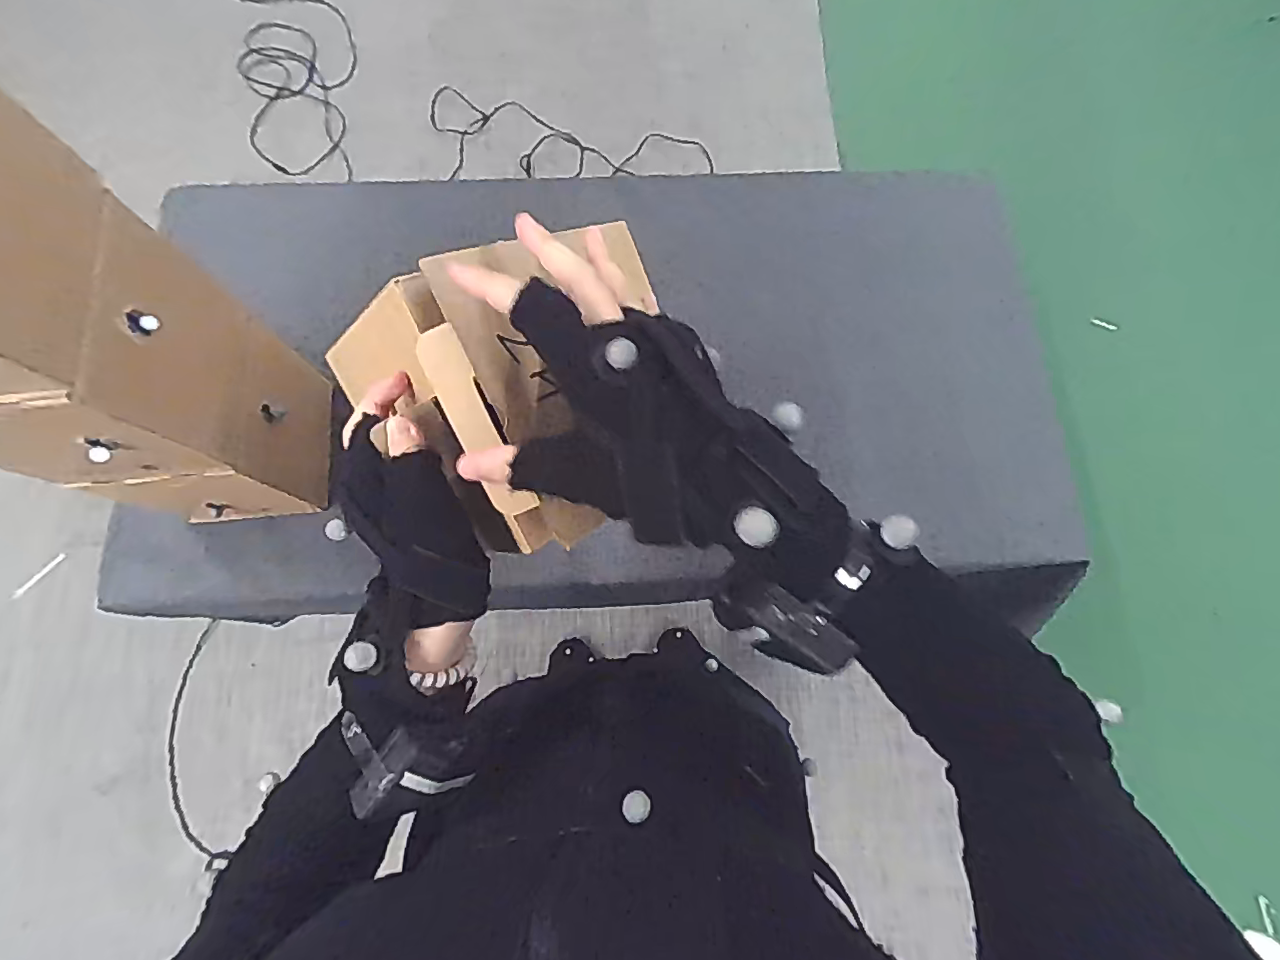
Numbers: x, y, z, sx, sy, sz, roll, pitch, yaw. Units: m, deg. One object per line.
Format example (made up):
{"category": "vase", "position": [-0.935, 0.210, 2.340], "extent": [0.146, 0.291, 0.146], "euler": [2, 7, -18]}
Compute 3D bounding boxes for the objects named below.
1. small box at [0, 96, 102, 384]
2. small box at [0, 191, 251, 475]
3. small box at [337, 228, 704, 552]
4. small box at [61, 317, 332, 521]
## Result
{"category": "small box", "position": [-0.465, -0.159, 0.302], "extent": [0.168, 0.176, 0.179], "euler": [-6, 74, -5]}
{"category": "small box", "position": [-0.469, -0.107, 0.457], "extent": [0.168, 0.176, 0.179], "euler": [-4, 74, -4]}
{"category": "small box", "position": [-0.088, -0.063, 0.404], "extent": [0.179, 0.176, 0.168], "euler": [-34, 109, -37]}
{"category": "small box", "position": [-0.475, -0.061, 0.614], "extent": [0.168, 0.176, 0.179], "euler": [-5, 75, -3]}
